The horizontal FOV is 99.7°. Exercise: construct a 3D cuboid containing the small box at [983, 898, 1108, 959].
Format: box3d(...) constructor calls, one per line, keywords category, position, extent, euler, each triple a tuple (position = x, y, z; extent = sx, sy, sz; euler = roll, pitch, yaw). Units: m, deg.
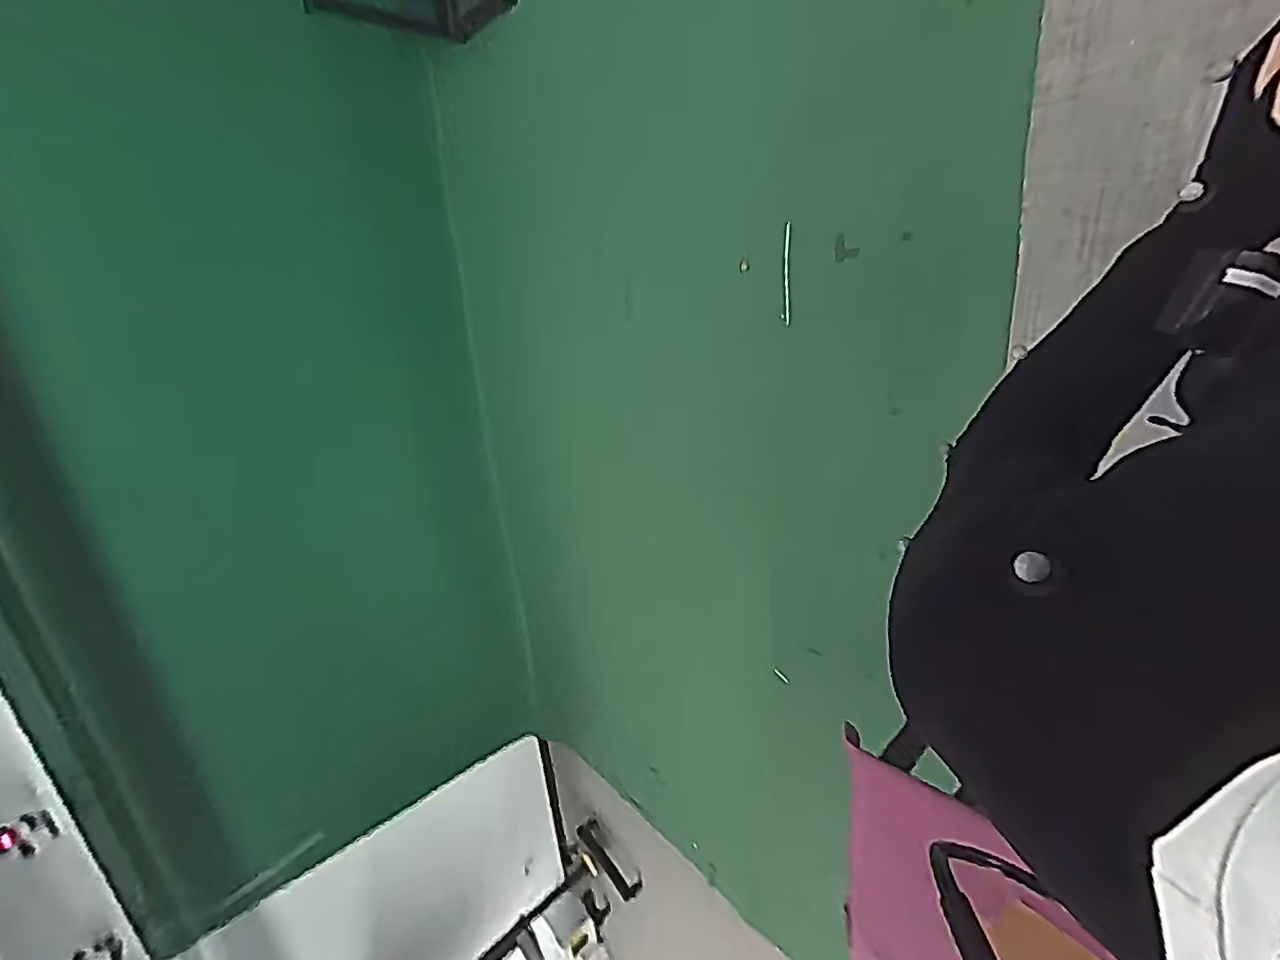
box3d(category="small box", position=(0.695, 0.882, 0.922), extent=(0.179, 0.176, 0.168), euler=(25, 125, 42))
